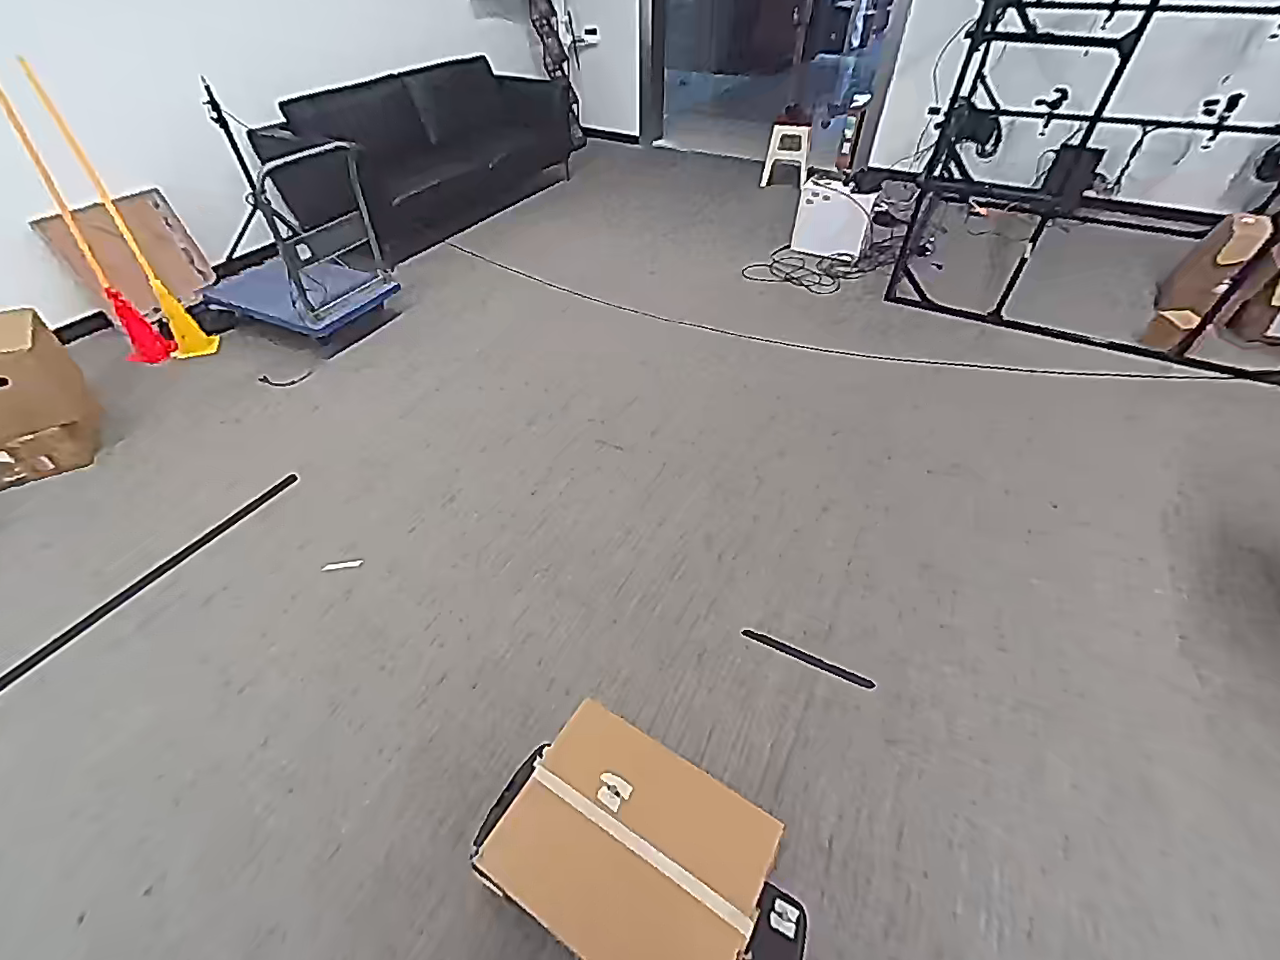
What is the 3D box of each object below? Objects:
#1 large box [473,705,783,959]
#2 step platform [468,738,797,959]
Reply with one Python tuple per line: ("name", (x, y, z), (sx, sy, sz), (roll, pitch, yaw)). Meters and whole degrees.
("large box", (-0.009, 0.688, 0.958), (0.408, 0.320, 0.320), (23, 49, 23))
("step platform", (-0.032, 0.858, 1.126), (0.684, 0.204, 0.286), (25, 50, 25))
